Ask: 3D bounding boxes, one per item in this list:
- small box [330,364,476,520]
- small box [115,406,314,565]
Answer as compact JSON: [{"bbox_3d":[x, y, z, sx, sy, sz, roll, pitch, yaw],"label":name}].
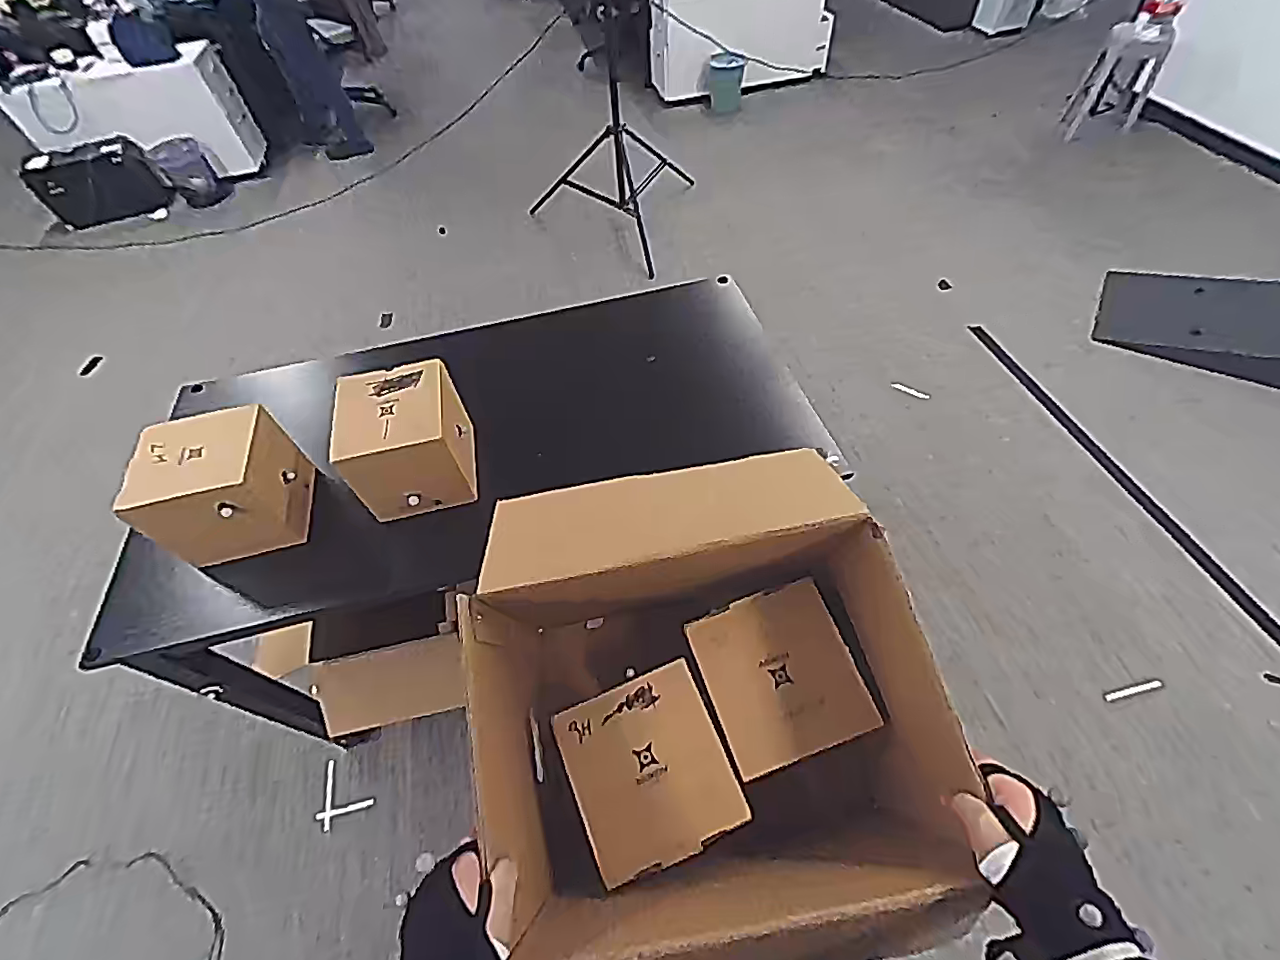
[{"bbox_3d":[-0.379,-0.060,0.895,0.168,0.176,0.179,-13,54,-5],"label":"small box"},{"bbox_3d":[-0.653,0.012,0.861,0.179,0.176,0.168,-14,54,-6],"label":"small box"}]
